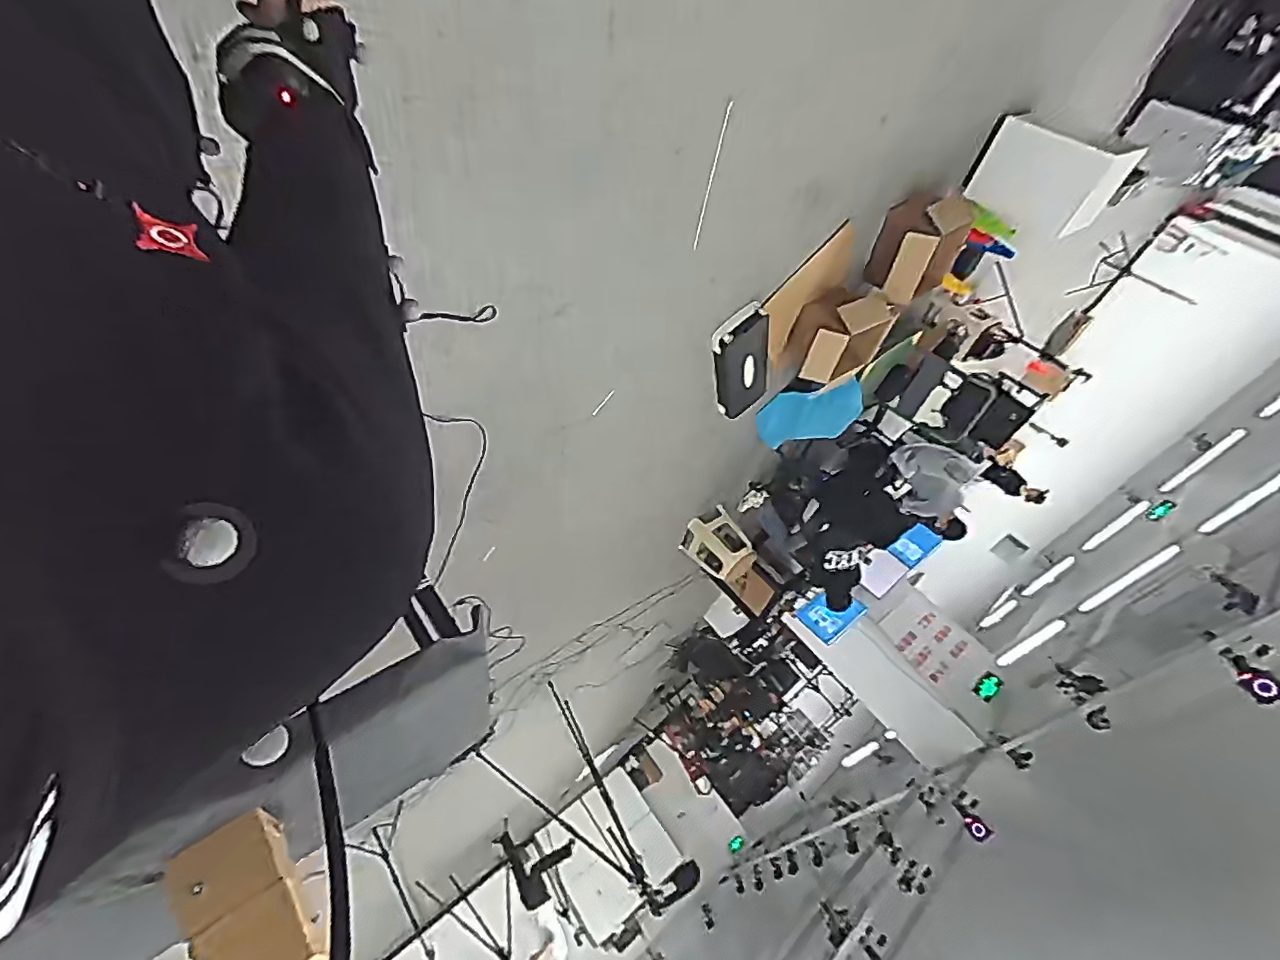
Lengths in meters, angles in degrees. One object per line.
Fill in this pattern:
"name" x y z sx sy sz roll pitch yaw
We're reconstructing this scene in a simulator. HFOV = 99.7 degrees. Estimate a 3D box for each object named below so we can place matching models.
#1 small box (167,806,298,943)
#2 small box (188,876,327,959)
"small box" -0.888 0.857 1.177 0.179 0.176 0.168 -27 151 -33
"small box" -0.782 0.963 1.114 0.179 0.176 0.168 -24 149 -33
